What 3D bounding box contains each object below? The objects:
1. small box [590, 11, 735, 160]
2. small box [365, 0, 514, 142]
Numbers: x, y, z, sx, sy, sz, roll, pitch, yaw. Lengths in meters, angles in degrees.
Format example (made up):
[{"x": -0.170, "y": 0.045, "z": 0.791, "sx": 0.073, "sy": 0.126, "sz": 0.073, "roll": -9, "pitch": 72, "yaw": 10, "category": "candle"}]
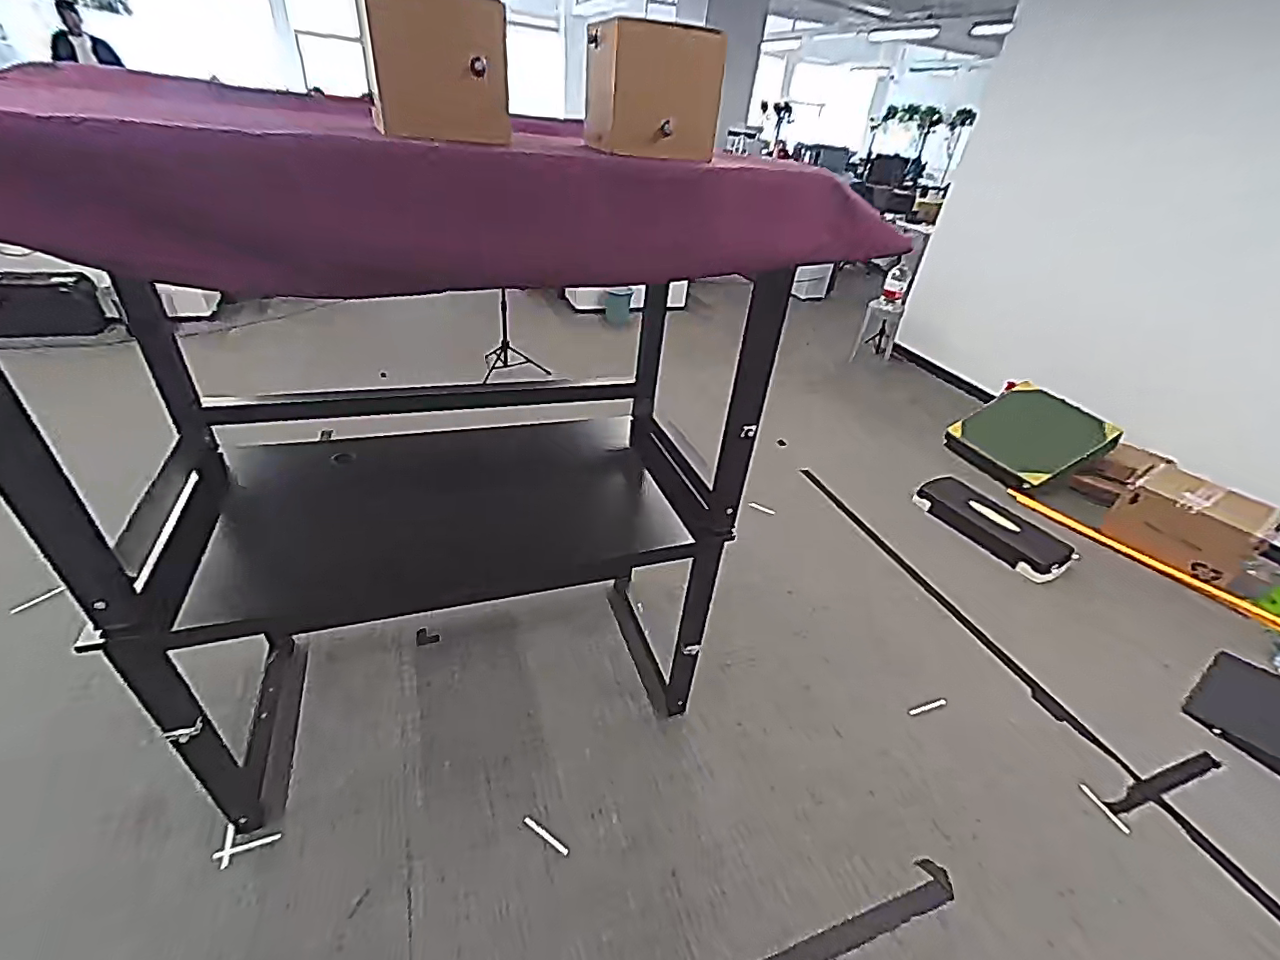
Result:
[{"x": 0.025, "y": -0.618, "z": 0.864, "sx": 0.179, "sy": 0.176, "sz": 0.168, "roll": -7, "pitch": 36, "yaw": -19, "category": "small box"}, {"x": -0.284, "y": -0.588, "z": 0.772, "sx": 0.179, "sy": 0.176, "sz": 0.168, "roll": -11, "pitch": 37, "yaw": -23, "category": "small box"}]
